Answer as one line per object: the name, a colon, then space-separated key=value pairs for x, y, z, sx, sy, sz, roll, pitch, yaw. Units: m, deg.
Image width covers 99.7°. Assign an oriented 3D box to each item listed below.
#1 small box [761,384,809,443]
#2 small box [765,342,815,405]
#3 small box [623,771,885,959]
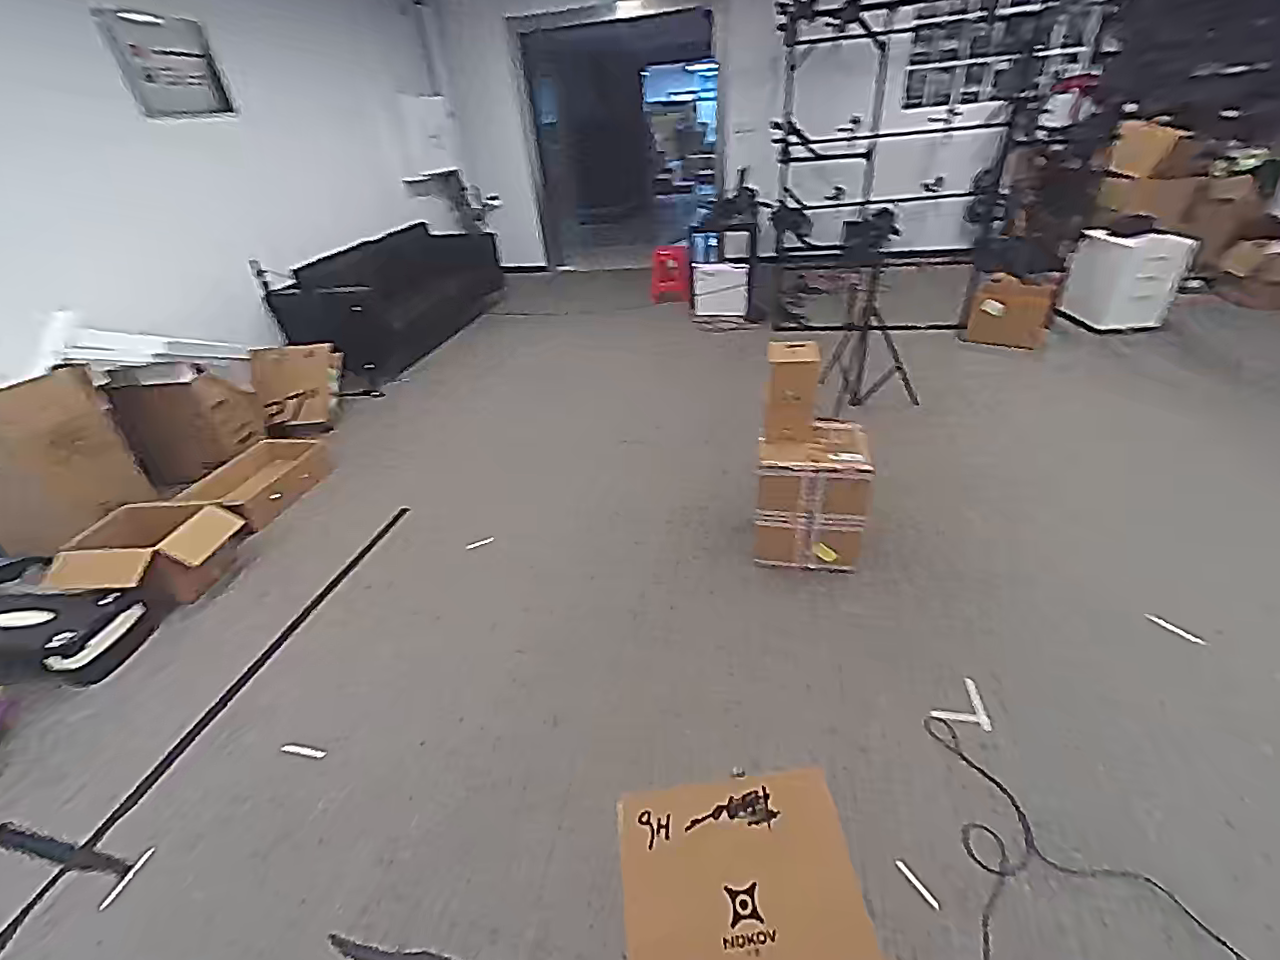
small box: x=0.547 y=-0.257 z=2.064 sx=0.168 sy=0.176 sz=0.179 roll=-1 pitch=36 yaw=11
small box: x=0.542 y=-0.388 z=1.964 sx=0.168 sy=0.176 sz=0.179 roll=1 pitch=37 yaw=14
small box: x=0.083 y=0.352 z=0.422 sx=0.168 sy=0.176 sz=0.179 roll=-8 pitch=48 yaw=0
